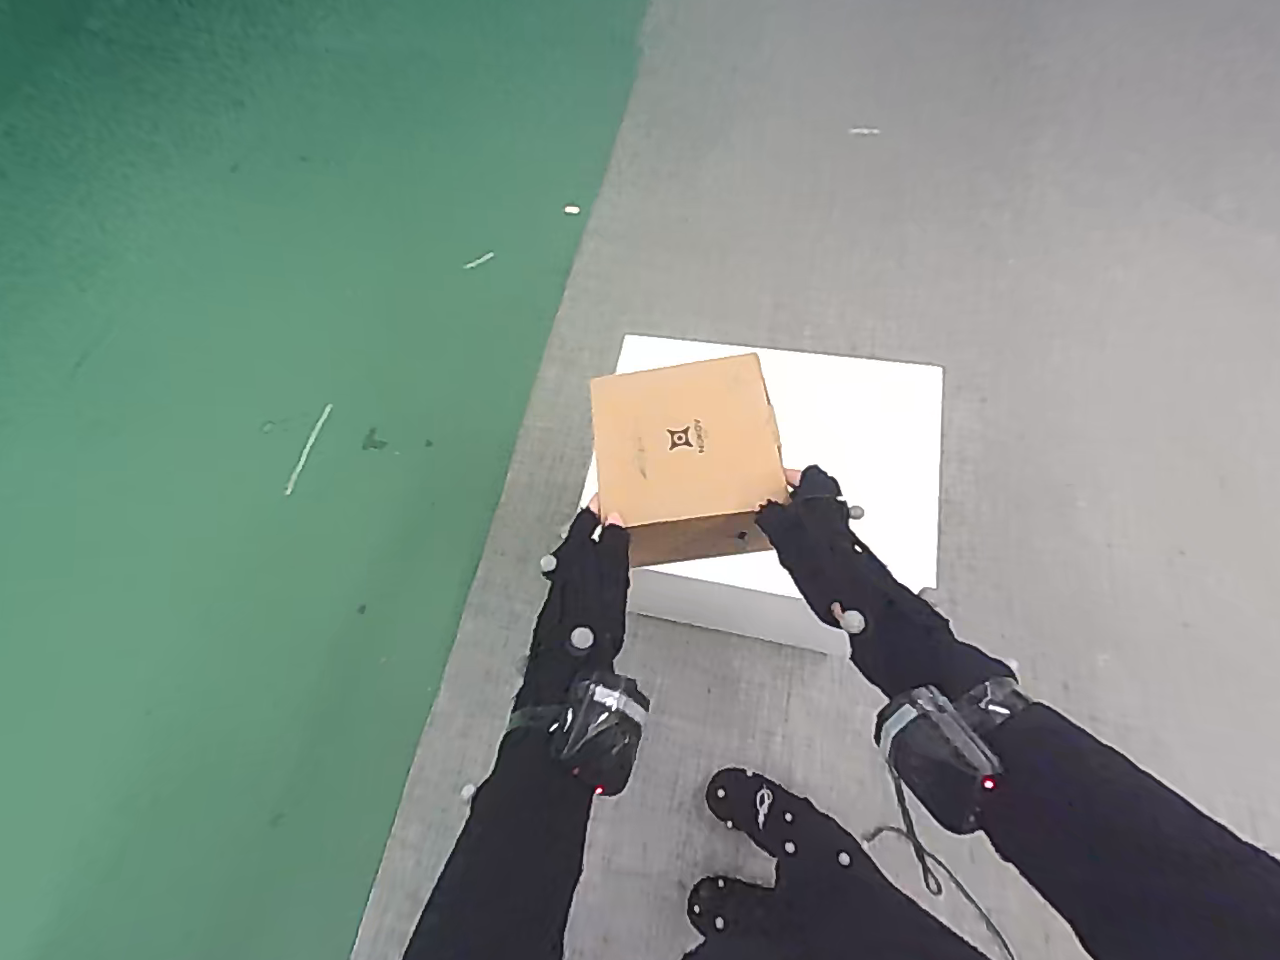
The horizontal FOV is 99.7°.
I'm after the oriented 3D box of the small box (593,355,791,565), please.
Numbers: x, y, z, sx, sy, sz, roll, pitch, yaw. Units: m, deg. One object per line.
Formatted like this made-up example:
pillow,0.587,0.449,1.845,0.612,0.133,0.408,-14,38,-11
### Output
small box,0.056,-0.010,0.592,0.179,0.176,0.168,-9,68,7
